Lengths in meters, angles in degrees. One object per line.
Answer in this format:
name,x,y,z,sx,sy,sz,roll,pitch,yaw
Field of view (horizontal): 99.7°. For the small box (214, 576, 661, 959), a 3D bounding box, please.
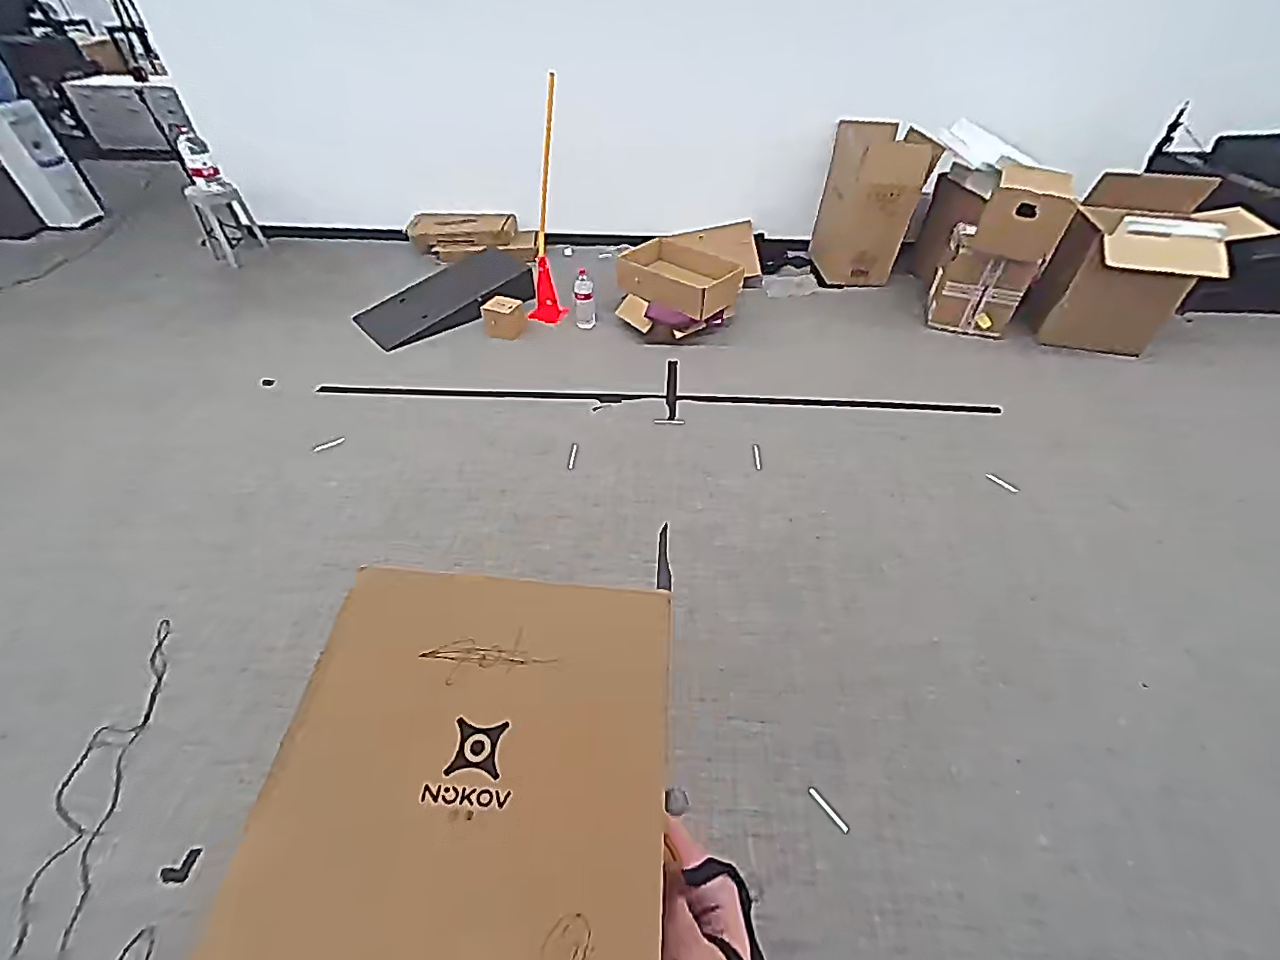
small box,-0.078,0.176,0.308,0.168,0.176,0.179,4,49,-3
